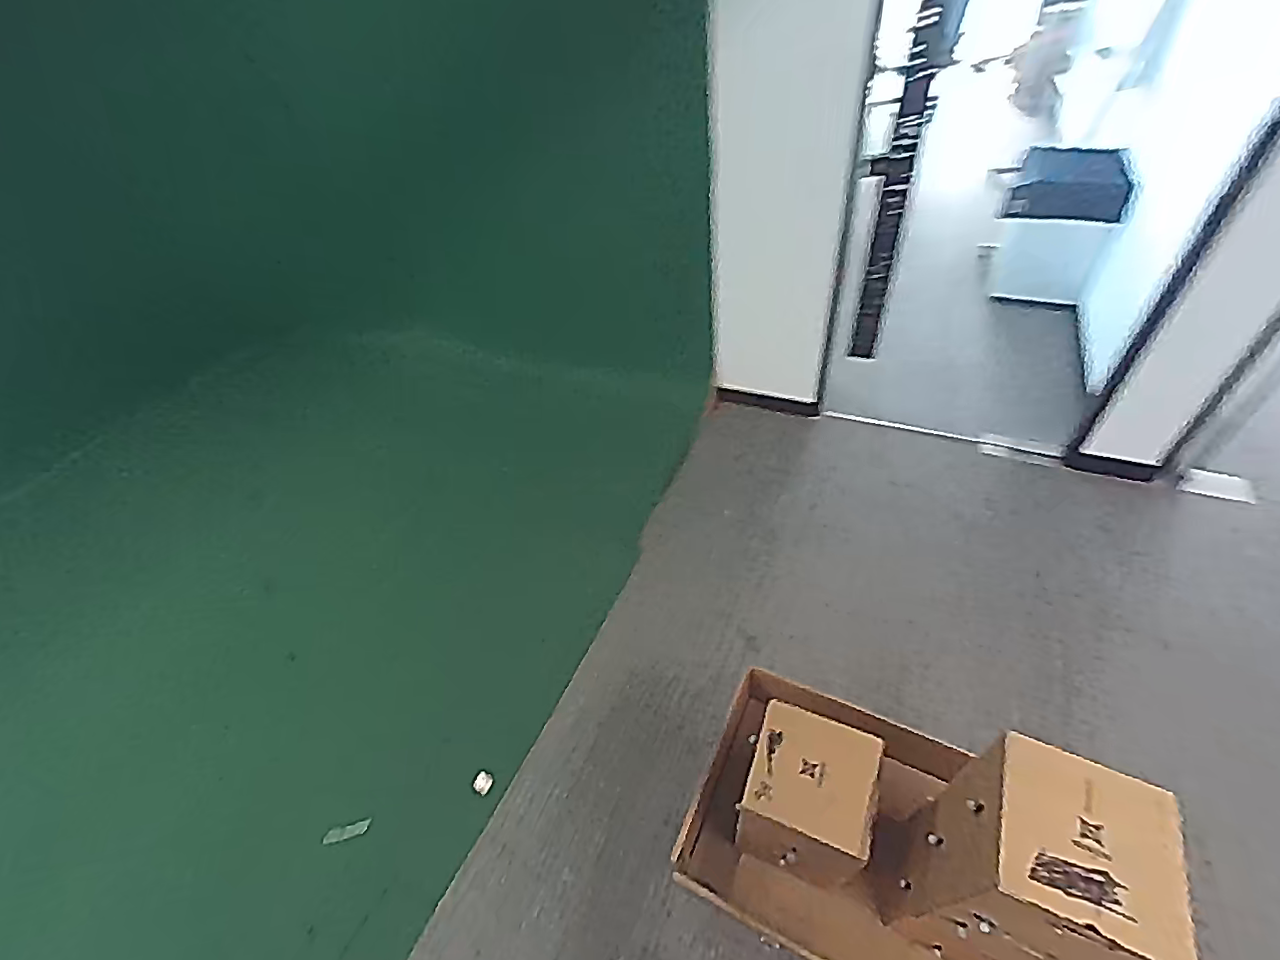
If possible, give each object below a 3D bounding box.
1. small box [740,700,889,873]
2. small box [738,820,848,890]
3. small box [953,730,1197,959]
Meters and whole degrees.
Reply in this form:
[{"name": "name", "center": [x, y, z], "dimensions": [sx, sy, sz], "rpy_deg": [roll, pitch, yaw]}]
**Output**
[{"name": "small box", "center": [0.266, 0.481, 0.844], "dimensions": [0.179, 0.176, 0.168], "rpy_deg": [15, 51, 20]}, {"name": "small box", "center": [0.282, 0.593, 0.963], "dimensions": [0.179, 0.176, 0.168], "rpy_deg": [17, 51, 21]}, {"name": "small box", "center": [0.483, 0.435, 0.626], "dimensions": [0.168, 0.176, 0.179], "rpy_deg": [17, 50, 23]}]
